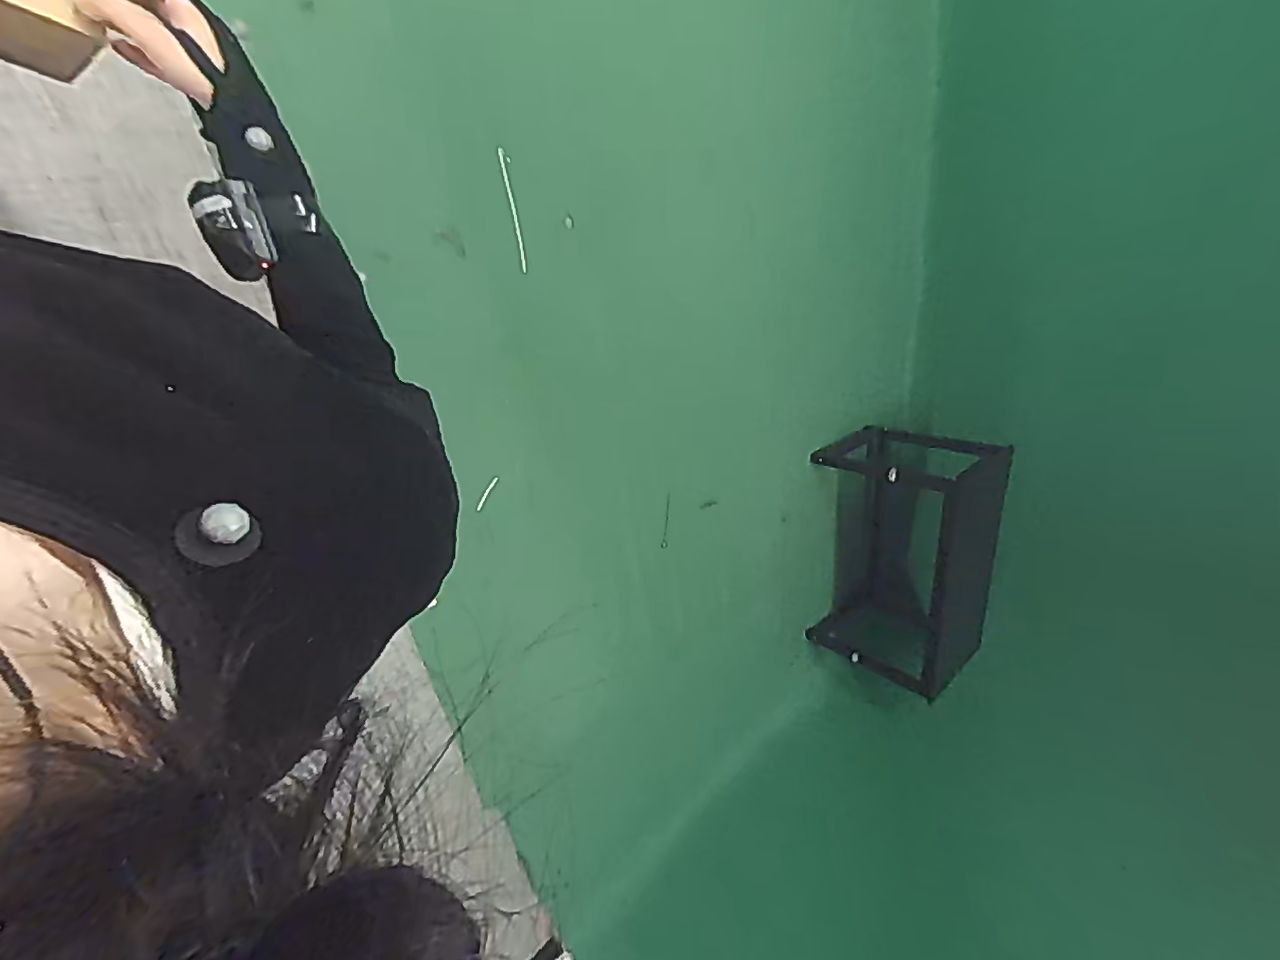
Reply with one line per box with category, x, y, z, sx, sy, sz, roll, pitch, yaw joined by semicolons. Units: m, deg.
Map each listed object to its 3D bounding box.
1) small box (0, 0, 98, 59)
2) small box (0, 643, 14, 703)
small box;-0.459;-0.404;0.330;0.168;0.176;0.179;-6;109;-51
small box;-1.268;0.346;0.944;0.179;0.176;0.168;-30;120;-28
